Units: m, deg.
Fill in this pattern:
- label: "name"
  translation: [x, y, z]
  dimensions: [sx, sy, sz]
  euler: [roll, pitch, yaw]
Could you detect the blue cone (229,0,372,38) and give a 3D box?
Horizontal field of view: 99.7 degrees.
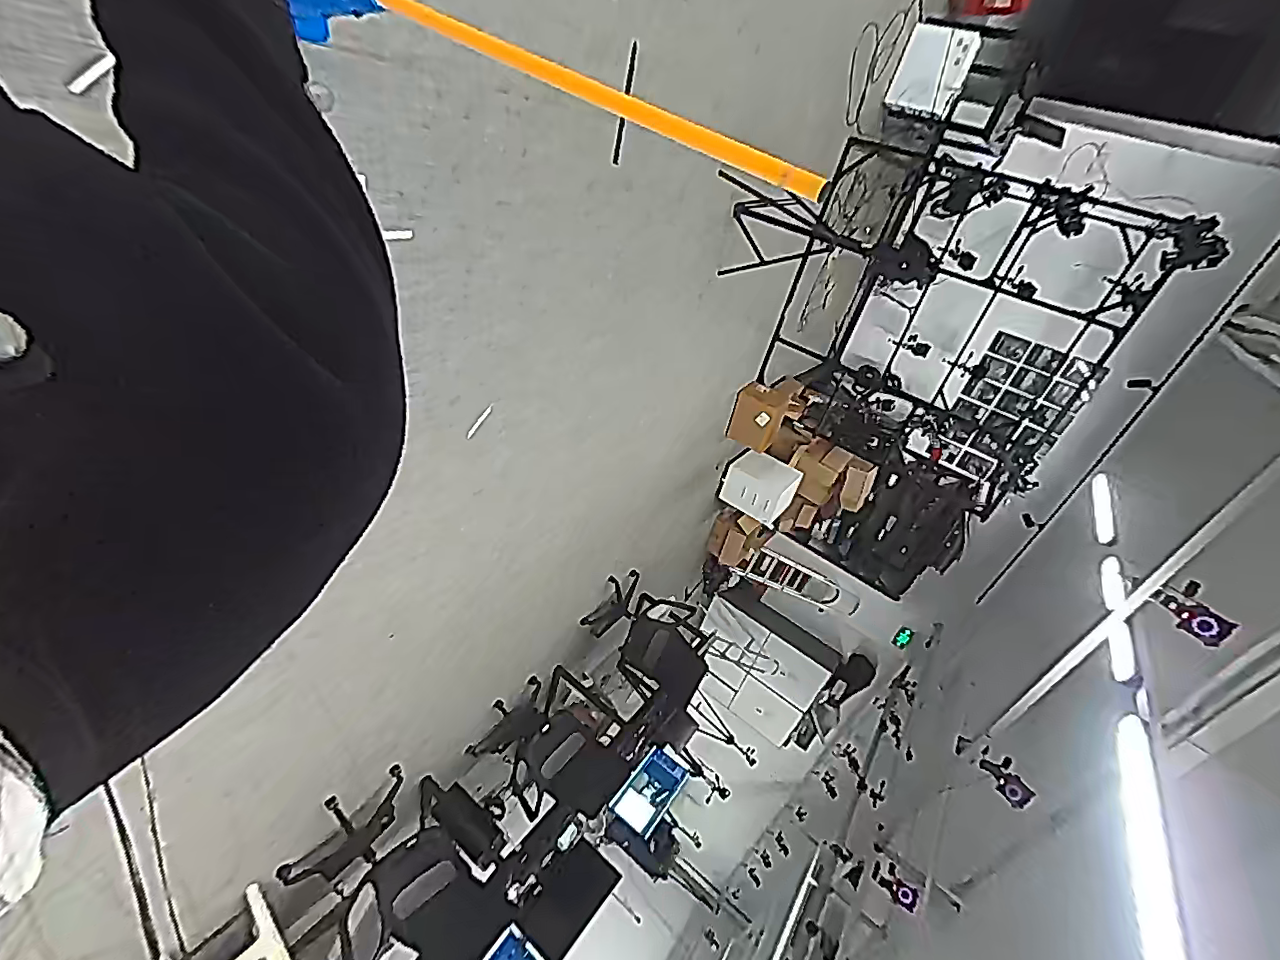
- label: "blue cone"
  translation: [-0.569, -0.894, 0.962]
  dimensions: [0.193, 0.380, 0.192]
  euler: [-34, 146, -45]
